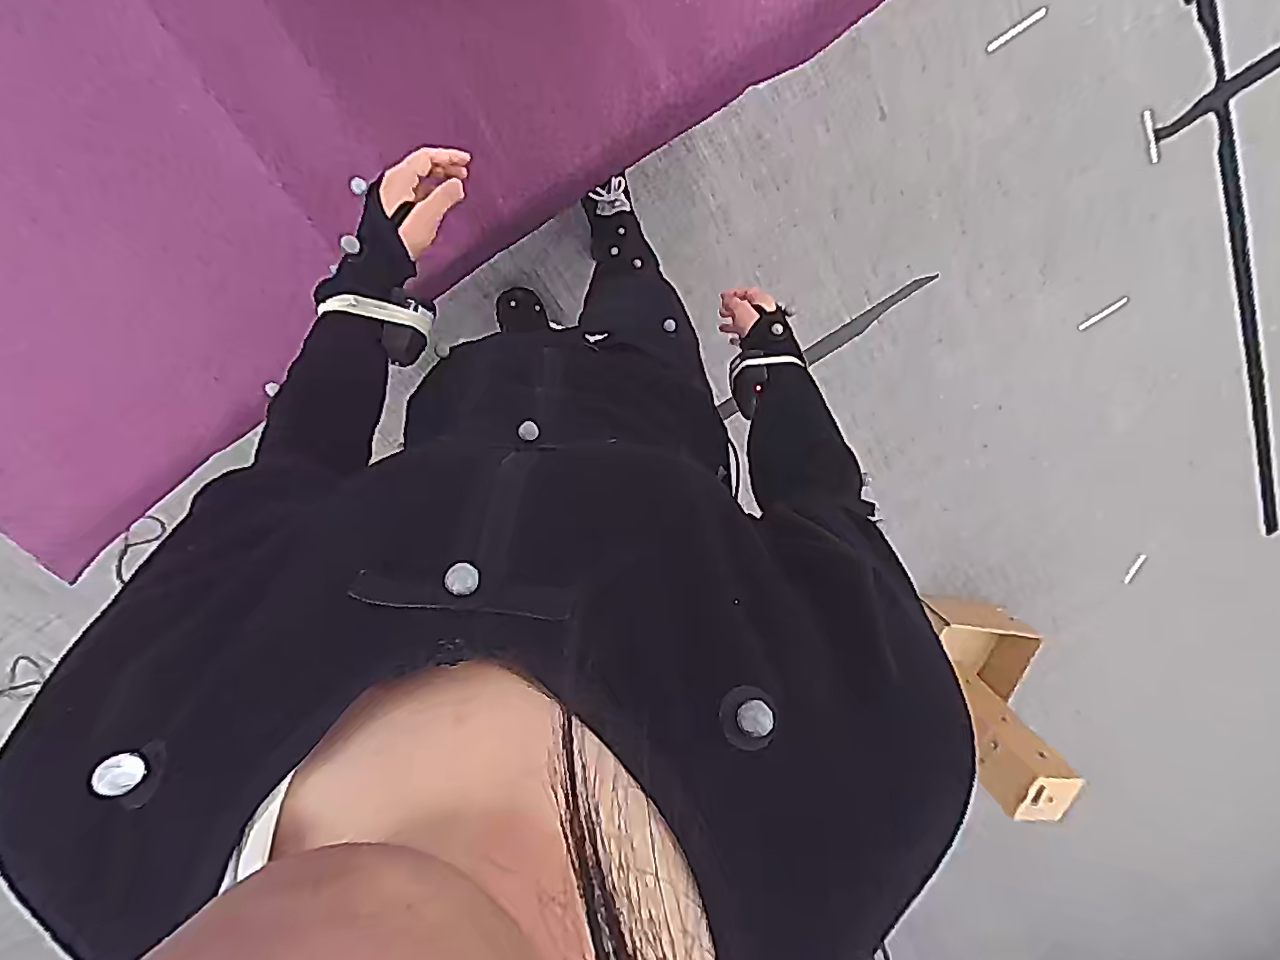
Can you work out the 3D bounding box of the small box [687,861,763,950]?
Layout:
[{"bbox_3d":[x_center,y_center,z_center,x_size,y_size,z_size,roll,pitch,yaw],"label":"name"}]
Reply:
[{"bbox_3d":[0.263,1.363,1.736,0.168,0.176,0.179,14,109,-14],"label":"small box"}]

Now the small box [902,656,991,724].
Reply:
[{"bbox_3d":[1.070,0.743,1.901,0.179,0.176,0.168,13,109,-14],"label":"small box"}]

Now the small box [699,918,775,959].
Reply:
[{"bbox_3d":[0.287,1.433,1.588,0.168,0.176,0.179,15,108,-14],"label":"small box"}]

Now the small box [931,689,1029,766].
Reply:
[{"bbox_3d":[1.097,0.804,1.754,0.179,0.176,0.168,12,108,-13],"label":"small box"}]

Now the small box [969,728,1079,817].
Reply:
[{"bbox_3d":[1.128,0.864,1.604,0.179,0.176,0.168,10,109,-15],"label":"small box"}]
